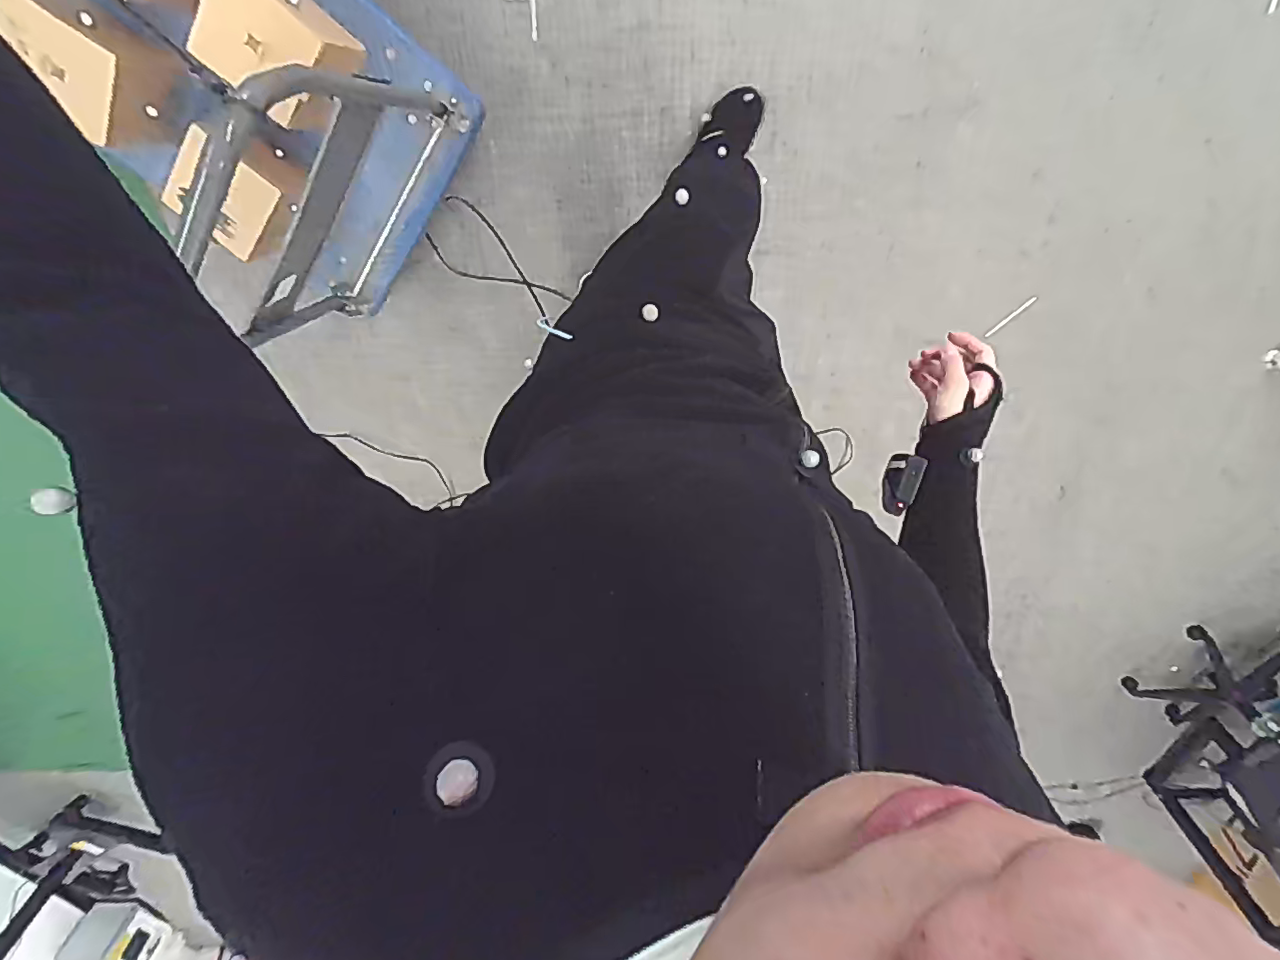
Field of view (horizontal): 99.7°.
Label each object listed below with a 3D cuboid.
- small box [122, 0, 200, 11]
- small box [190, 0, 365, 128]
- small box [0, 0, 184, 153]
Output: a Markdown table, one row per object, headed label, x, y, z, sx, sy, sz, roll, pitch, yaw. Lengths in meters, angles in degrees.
| label | x | y | z | sx | sy | sz | roll | pitch | yaw |
| --- | --- | --- | --- | --- | --- | --- | --- | --- | --- |
| small box | -0.846 | -0.906 | 0.870 | 0.179 | 0.176 | 0.168 | 30 | 120 | -20 |
| small box | -0.636 | -0.764 | 0.966 | 0.179 | 0.176 | 0.168 | 35 | 118 | -22 |
| small box | -0.990 | -0.735 | 0.986 | 0.179 | 0.176 | 0.168 | 30 | 118 | -19 |
